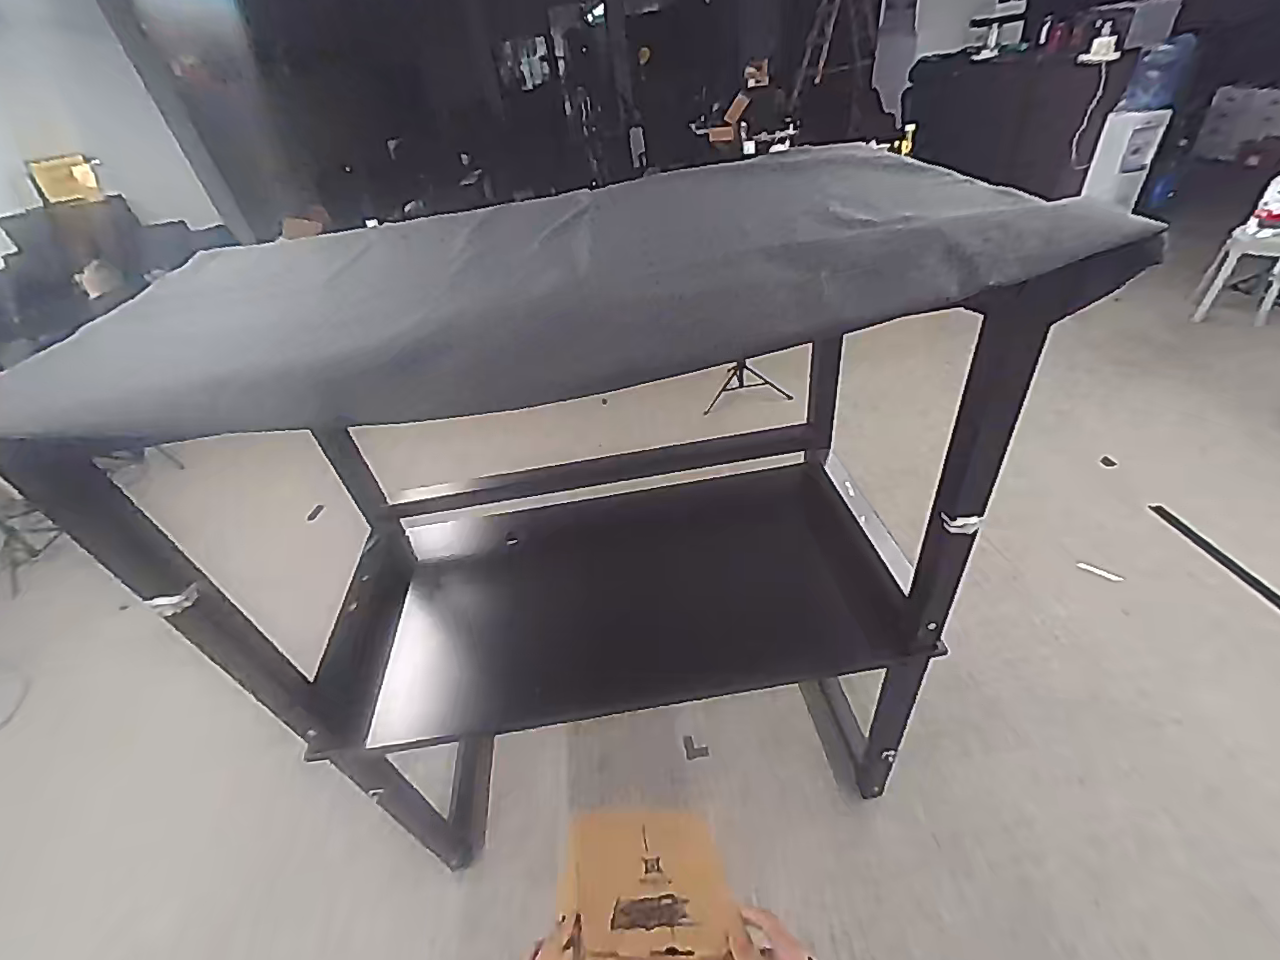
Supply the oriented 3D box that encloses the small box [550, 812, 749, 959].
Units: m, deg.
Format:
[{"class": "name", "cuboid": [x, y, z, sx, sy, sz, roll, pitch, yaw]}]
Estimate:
[{"class": "small box", "cuboid": [-0.003, 0.494, 0.578, 0.168, 0.176, 0.179, 8, 7, -12]}]
